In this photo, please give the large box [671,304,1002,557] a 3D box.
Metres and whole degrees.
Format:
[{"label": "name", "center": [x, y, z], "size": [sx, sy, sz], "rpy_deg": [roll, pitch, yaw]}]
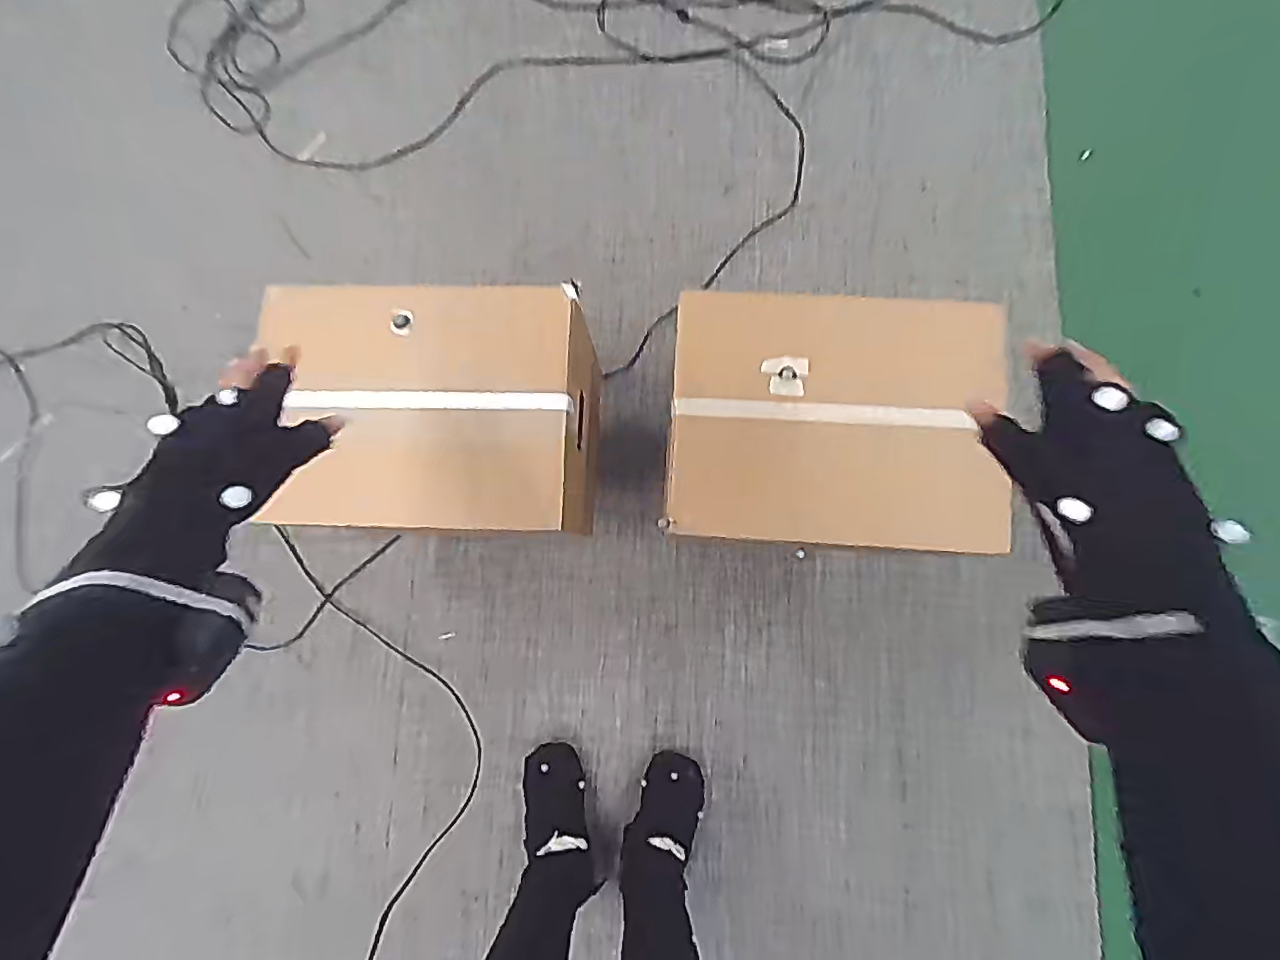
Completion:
[{"label": "large box", "center": [0.257, -0.053, 0.826], "size": [0.408, 0.320, 0.320], "rpy_deg": [4, 82, 3]}]
